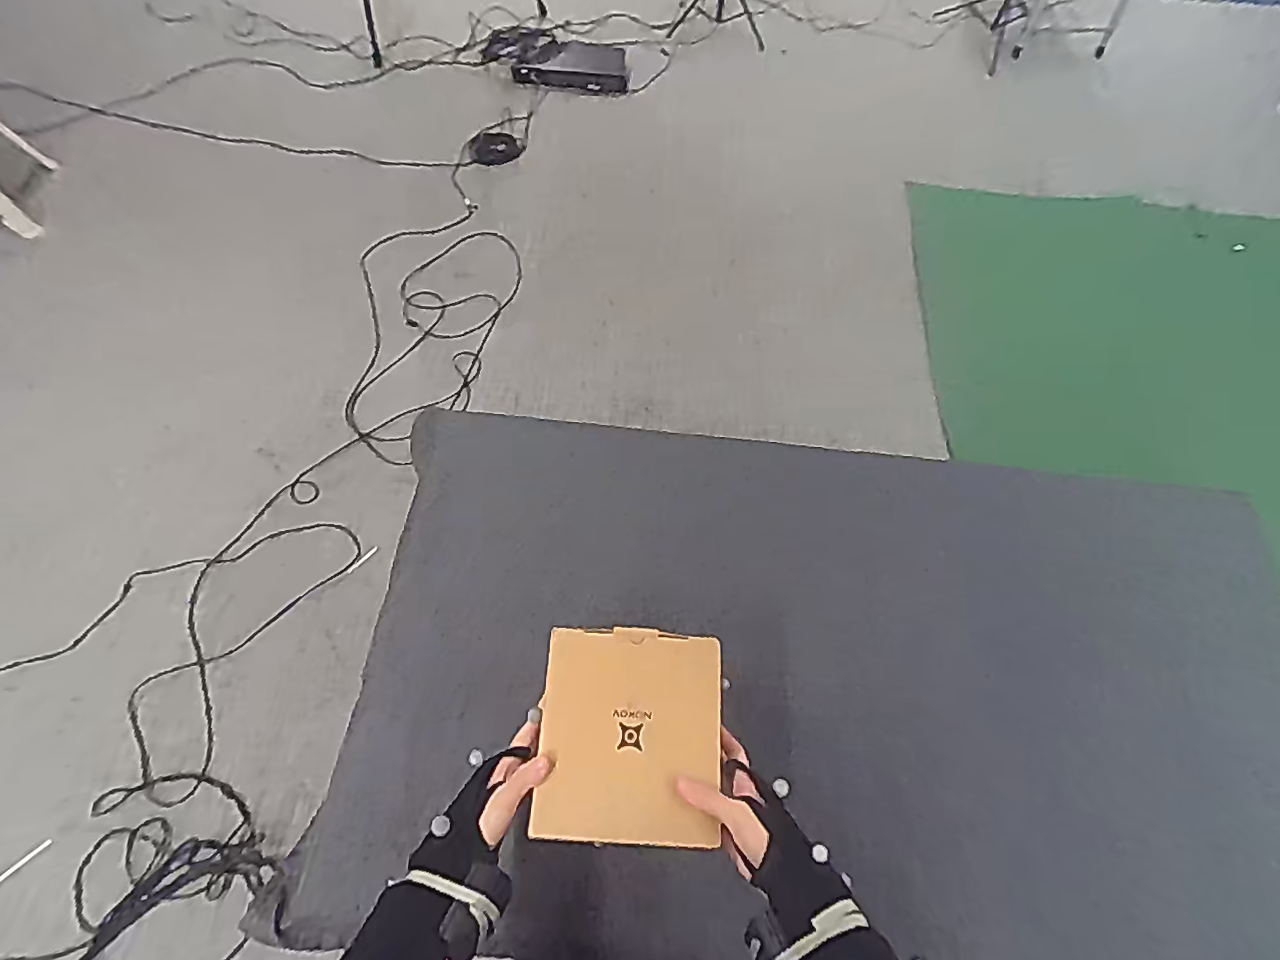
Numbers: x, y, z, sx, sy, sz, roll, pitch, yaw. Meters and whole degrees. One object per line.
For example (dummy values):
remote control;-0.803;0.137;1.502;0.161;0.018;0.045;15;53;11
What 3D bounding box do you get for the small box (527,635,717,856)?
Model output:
small box;-0.013;0.269;0.566;0.168;0.176;0.179;4;64;-1
